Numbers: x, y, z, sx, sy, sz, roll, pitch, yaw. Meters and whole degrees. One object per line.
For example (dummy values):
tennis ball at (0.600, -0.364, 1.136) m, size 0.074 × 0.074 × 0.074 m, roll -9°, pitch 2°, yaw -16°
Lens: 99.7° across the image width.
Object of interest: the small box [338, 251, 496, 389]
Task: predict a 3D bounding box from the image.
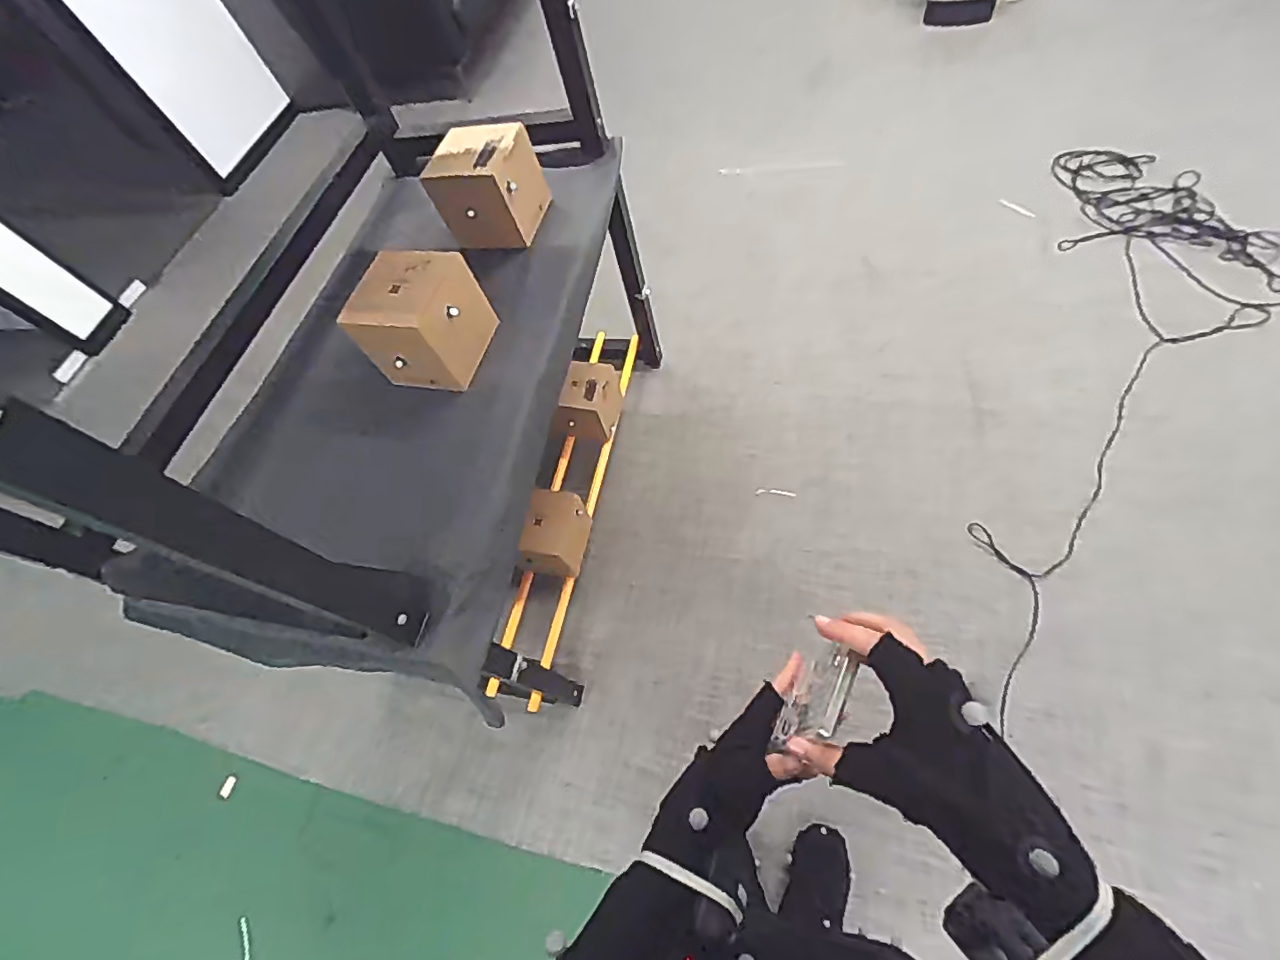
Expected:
small box at (-0.385, -0.282, 0.969) m, size 0.168 × 0.176 × 0.179 m, roll 8°, pitch 63°, yaw 17°

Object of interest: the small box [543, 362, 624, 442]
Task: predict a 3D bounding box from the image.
small box at (-0.161, -0.229, 1.617) m, size 0.179 × 0.176 × 0.168 m, roll 9°, pitch 63°, yaw 17°
